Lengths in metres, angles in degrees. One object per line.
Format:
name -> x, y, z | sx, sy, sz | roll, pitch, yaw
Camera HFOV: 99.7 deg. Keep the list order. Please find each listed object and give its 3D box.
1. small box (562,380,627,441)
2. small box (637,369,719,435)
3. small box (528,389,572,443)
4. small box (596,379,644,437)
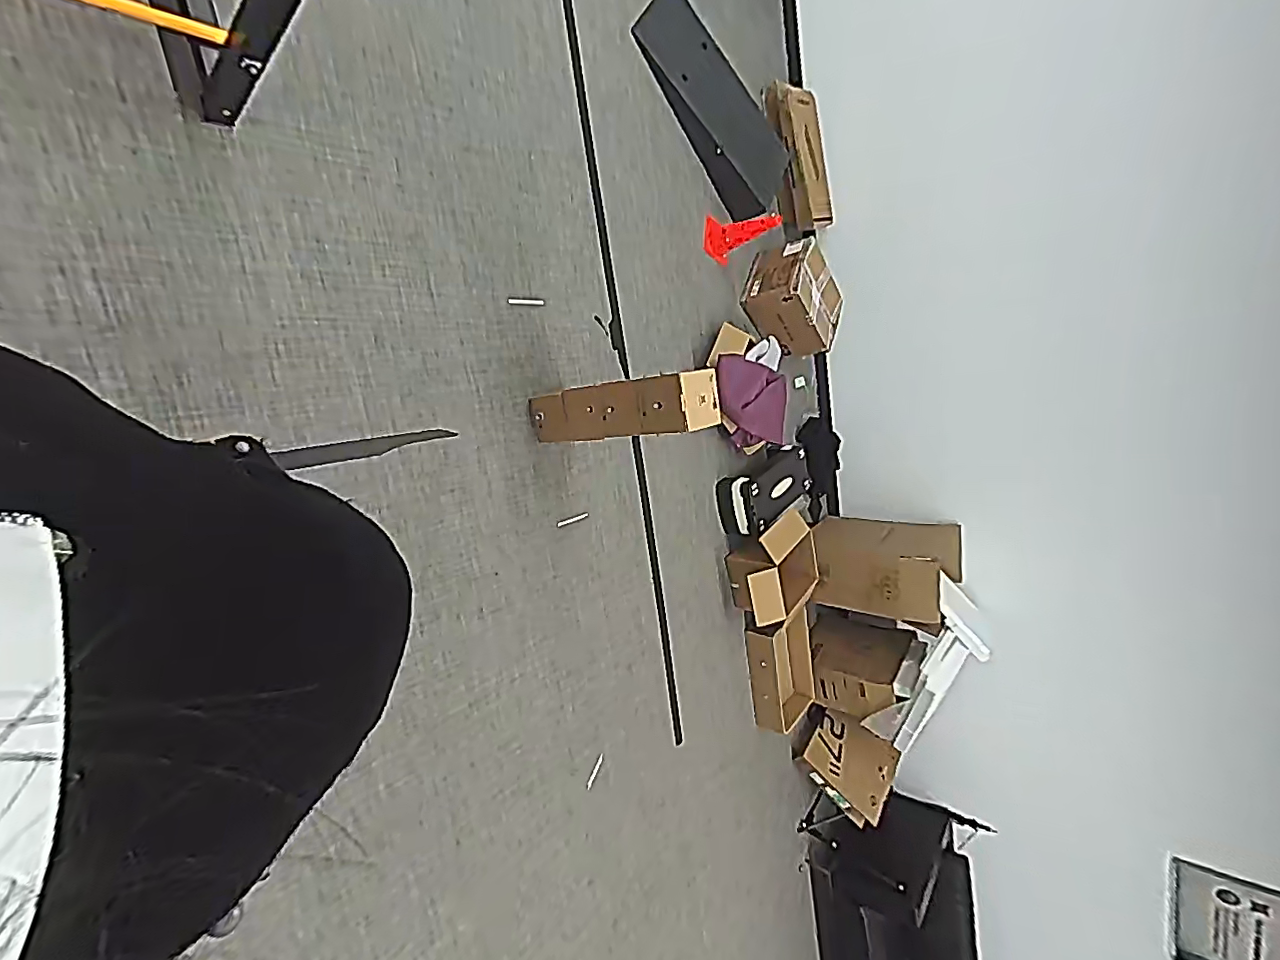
small box -> -0.141, -0.231, 1.801 | 0.168, 0.176, 0.179 | -20, 105, -47
small box -> 0.105, -0.228, 1.583 | 0.179, 0.176, 0.168 | -18, 104, -46
small box -> -0.265, -0.232, 1.909 | 0.179, 0.176, 0.168 | -25, 108, -44
small box -> -0.015, -0.227, 1.694 | 0.179, 0.176, 0.168 | -15, 101, -47
